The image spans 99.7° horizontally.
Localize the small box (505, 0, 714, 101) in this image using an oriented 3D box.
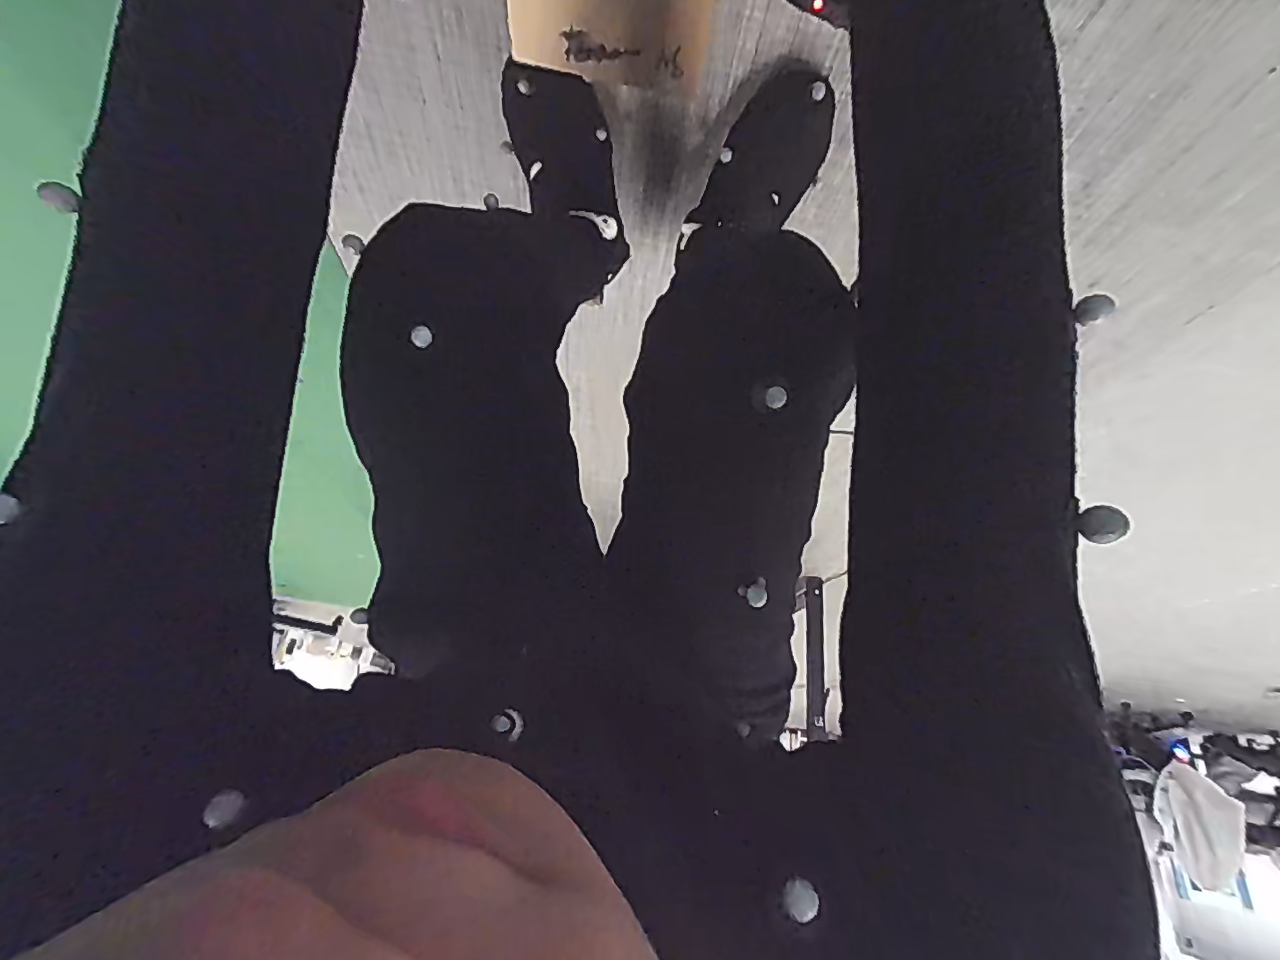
[{"bbox_3d":[-0.012,-0.456,0.433,0.168,0.176,0.179,11,153,-2],"label":"small box"}]
